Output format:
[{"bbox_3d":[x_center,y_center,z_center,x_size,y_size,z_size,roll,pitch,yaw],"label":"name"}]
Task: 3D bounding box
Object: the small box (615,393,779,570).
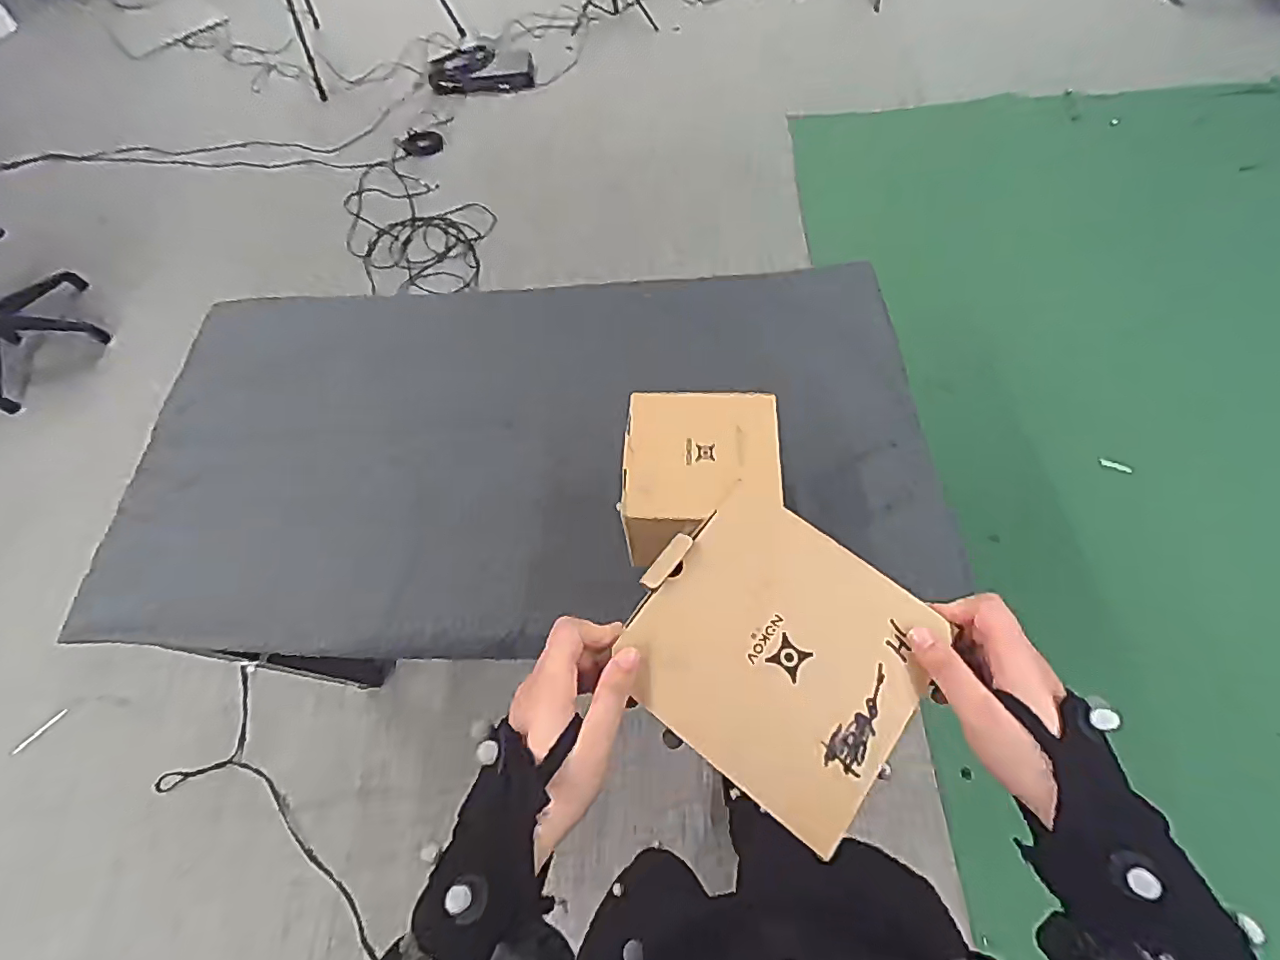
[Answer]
[{"bbox_3d":[0.069,0.008,0.677,0.179,0.176,0.168,1,63,4],"label":"small box"}]
